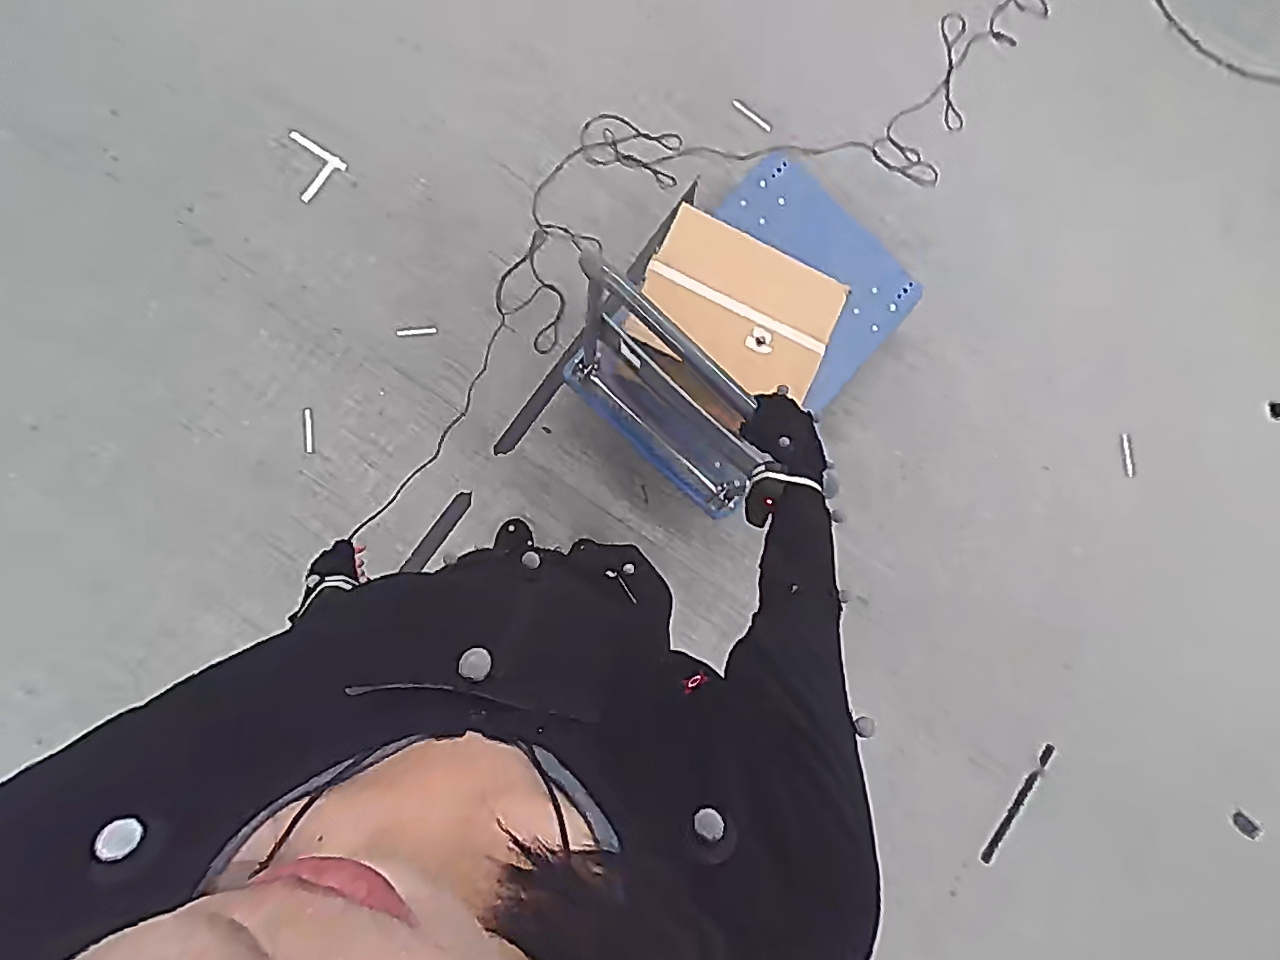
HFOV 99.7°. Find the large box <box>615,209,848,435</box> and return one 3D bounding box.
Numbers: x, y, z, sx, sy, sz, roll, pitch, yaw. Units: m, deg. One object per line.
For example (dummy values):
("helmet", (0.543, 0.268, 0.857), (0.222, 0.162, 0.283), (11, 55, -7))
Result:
("large box", (0.190, -0.343, 1.277), (0.408, 0.320, 0.320), (25, 84, -5))
